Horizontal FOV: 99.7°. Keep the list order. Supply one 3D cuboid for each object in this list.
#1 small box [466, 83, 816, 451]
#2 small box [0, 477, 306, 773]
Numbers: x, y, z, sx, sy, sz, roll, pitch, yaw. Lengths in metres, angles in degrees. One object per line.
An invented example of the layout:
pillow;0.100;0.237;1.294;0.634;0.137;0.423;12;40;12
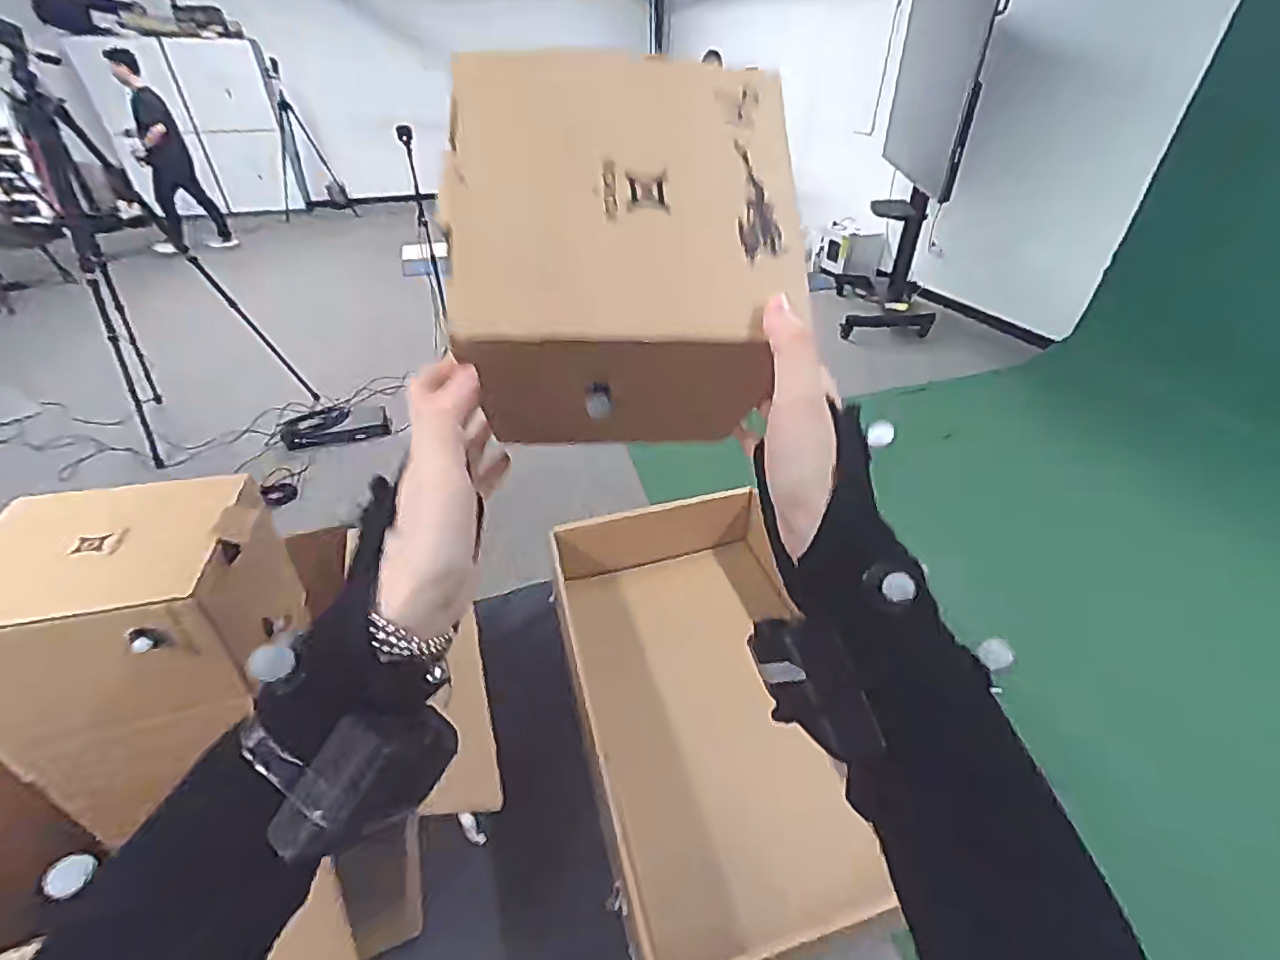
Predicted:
small box;-0.007;-0.120;0.361;0.179;0.176;0.168;-2;77;-6
small box;-0.425;0.120;0.472;0.179;0.176;0.168;-8;36;-17
